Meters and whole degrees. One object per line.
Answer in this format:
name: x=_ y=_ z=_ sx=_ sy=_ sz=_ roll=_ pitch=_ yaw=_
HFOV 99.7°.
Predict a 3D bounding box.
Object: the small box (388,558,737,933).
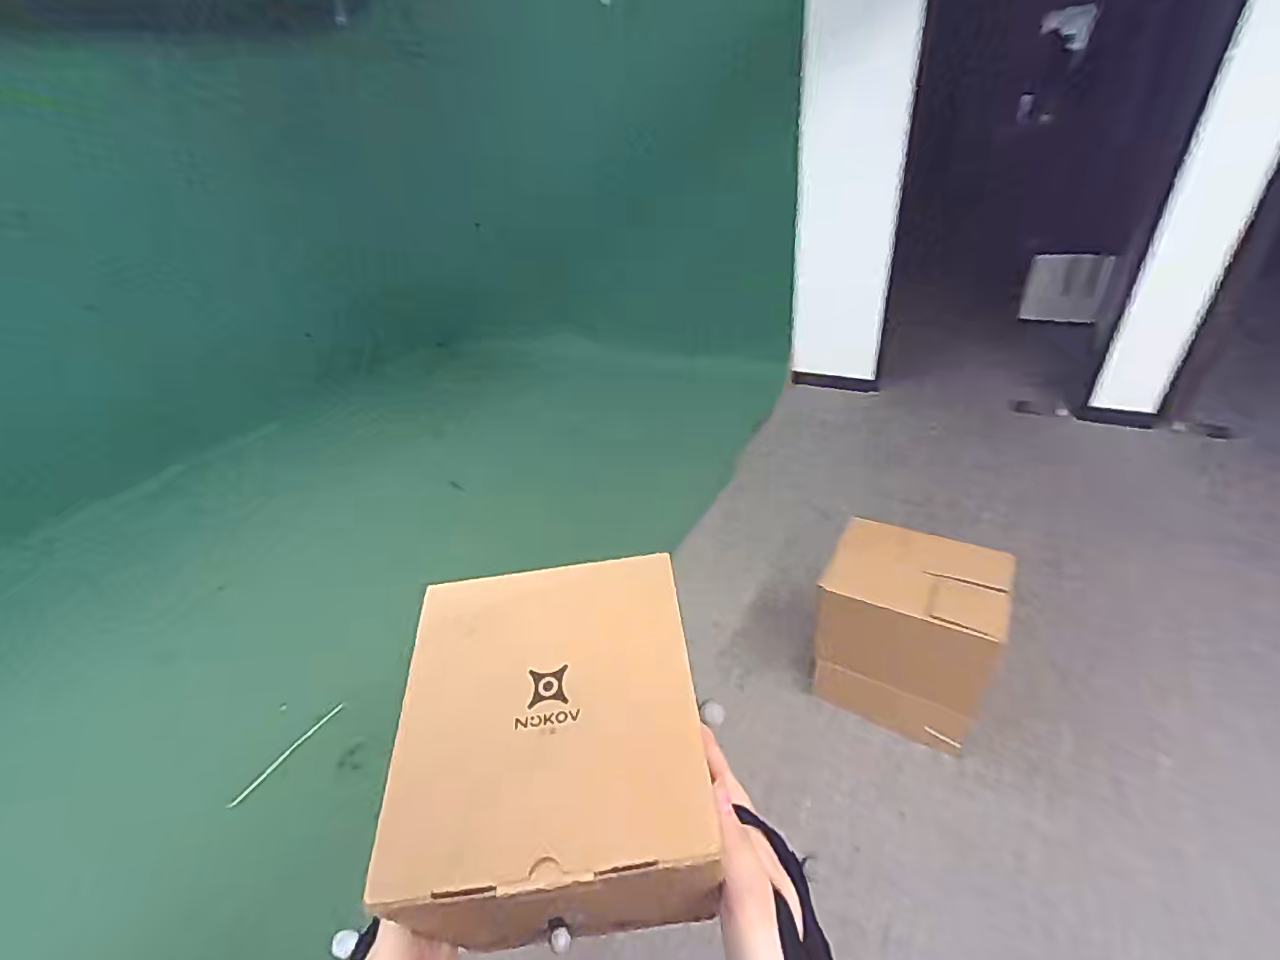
small box: x=-0.037 y=0.177 z=0.363 sx=0.168 sy=0.176 sz=0.179 roll=-6 pitch=46 yaw=0
